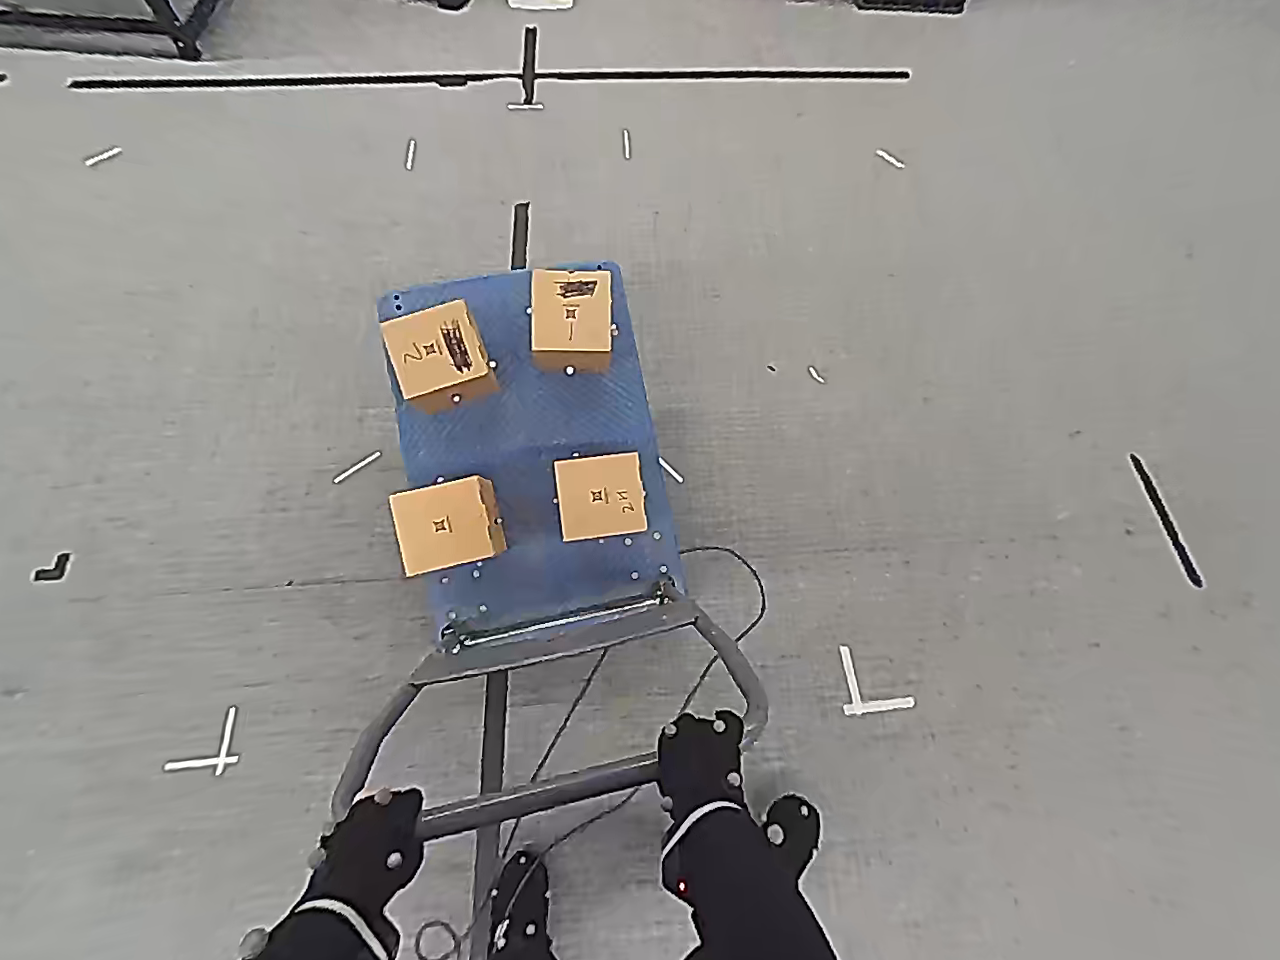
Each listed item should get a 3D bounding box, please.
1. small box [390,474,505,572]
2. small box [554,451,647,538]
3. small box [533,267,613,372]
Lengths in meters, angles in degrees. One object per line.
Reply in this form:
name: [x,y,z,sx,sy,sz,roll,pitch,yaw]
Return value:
small box: [-0.397,0.092,1.141,0.179,0.176,0.168,-14,87,-8]
small box: [-0.086,0.036,1.178,0.179,0.176,0.168,-7,87,-7]
small box: [-0.149,-0.350,1.203,0.168,0.176,0.179,0,87,-6]
